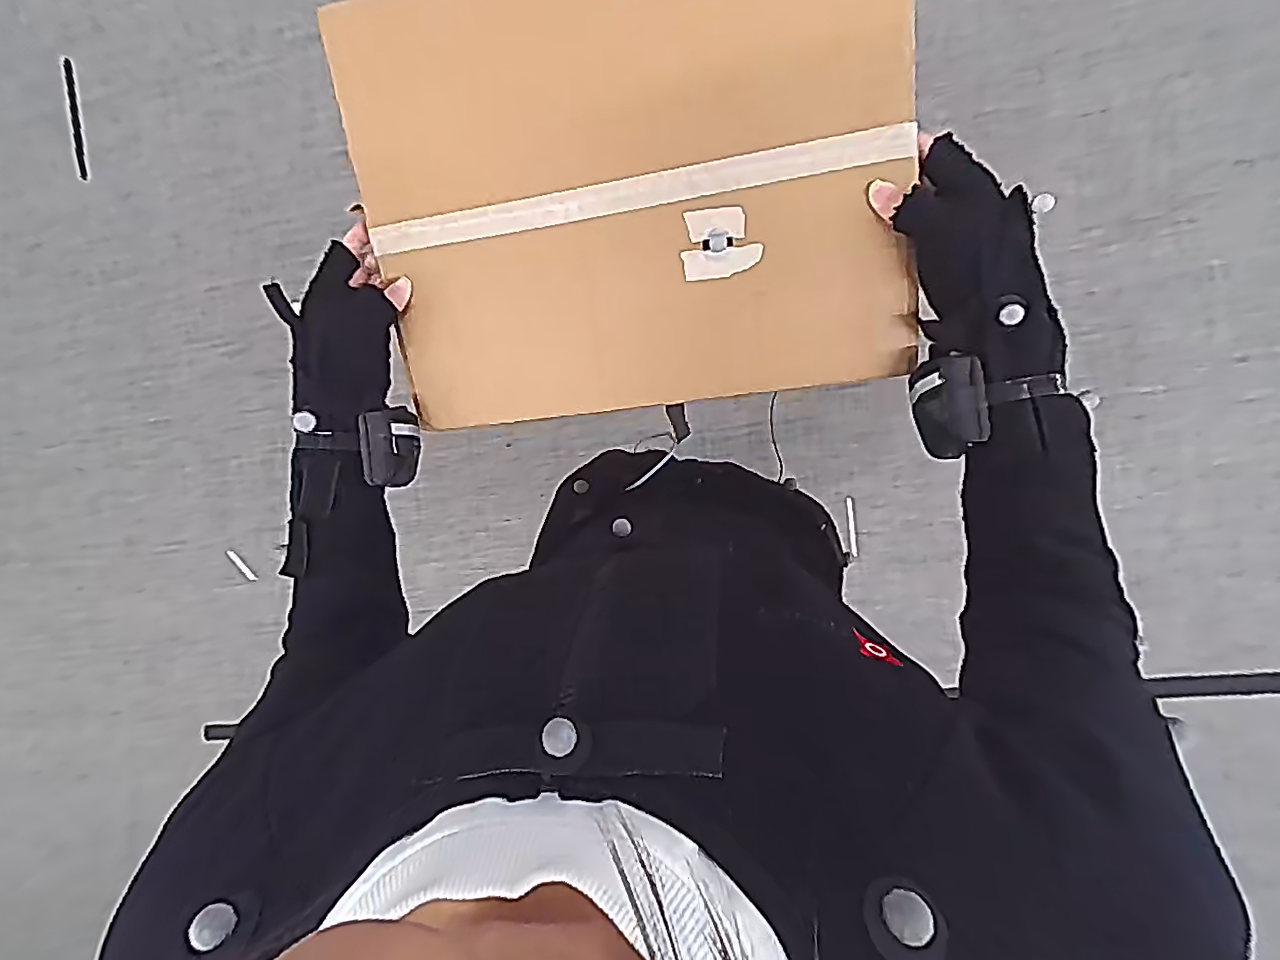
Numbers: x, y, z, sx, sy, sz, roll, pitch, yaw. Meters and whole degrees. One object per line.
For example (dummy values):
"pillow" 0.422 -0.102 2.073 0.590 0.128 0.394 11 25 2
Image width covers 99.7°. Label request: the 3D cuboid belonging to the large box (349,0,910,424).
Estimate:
"large box" 0.010 -0.257 0.556 0.408 0.320 0.320 -6 106 9
